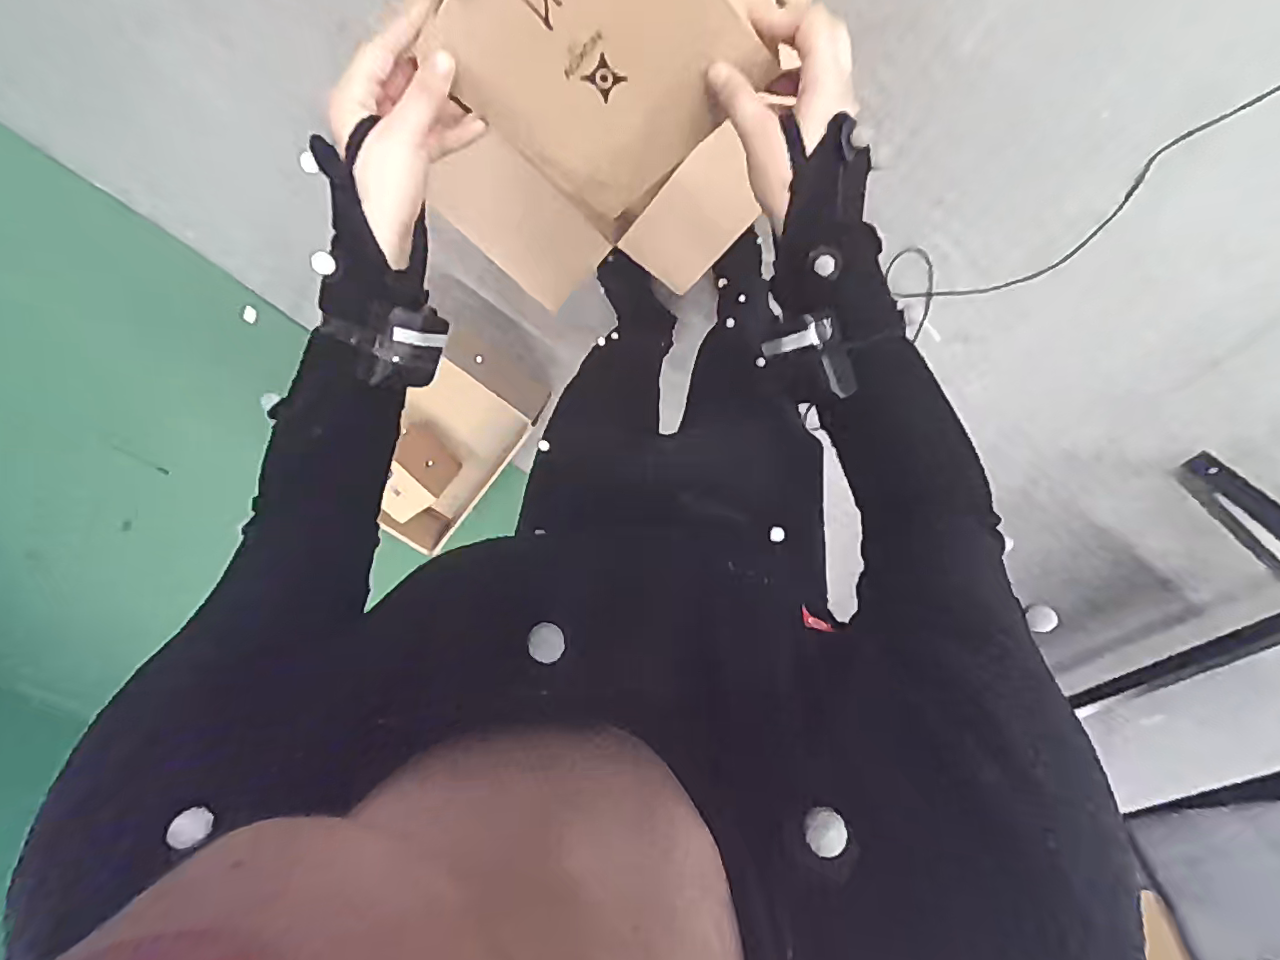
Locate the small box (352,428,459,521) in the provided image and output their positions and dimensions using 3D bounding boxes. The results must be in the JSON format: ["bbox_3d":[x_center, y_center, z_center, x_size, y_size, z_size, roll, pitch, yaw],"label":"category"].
[{"bbox_3d":[-0.647,-0.024,1.511,0.168,0.176,0.179,-29,115,25],"label":"small box"}]

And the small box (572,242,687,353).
[{"bbox_3d":[-0.020,-0.400,1.188,0.176,0.168,0.179,13,104,-33],"label":"small box"}]

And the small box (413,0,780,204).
[{"bbox_3d":[-0.023,-0.346,0.371,0.179,0.176,0.168,23,149,-40],"label":"small box"}]
